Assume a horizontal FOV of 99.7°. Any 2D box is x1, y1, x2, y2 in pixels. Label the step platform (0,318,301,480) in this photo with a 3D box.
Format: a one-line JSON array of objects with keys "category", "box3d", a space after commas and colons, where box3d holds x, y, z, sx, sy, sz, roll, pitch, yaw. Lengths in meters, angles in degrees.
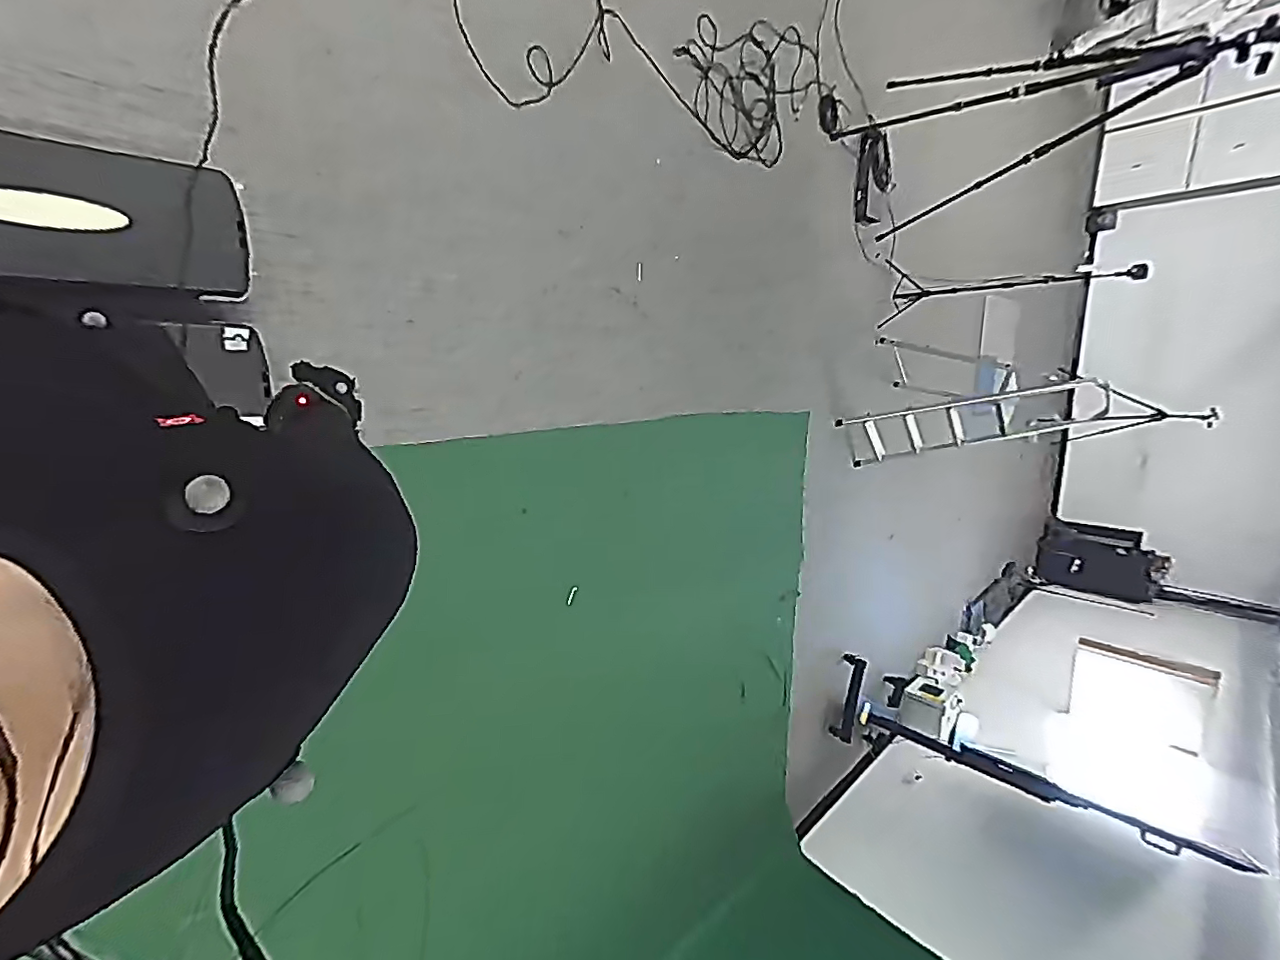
[{"category": "step platform", "box3d": [-1.028, -0.146, 0.973, 0.684, 0.204, 0.286, -11, 105, -43]}]
